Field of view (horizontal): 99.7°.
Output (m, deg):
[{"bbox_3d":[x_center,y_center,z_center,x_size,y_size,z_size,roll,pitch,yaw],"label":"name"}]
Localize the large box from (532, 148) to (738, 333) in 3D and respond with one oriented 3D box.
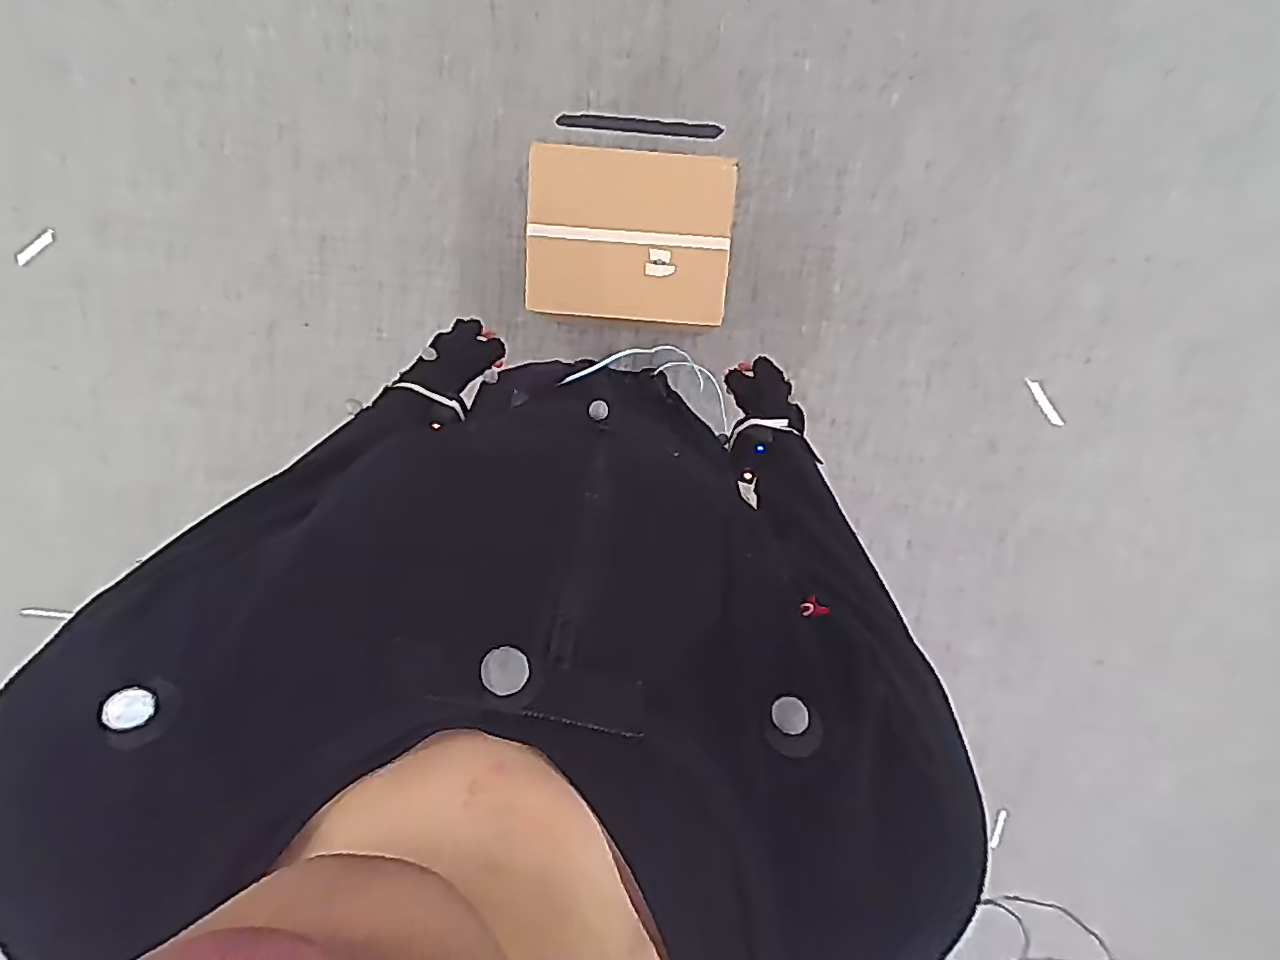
[{"bbox_3d":[-0.017,-0.514,1.227,0.408,0.320,0.320,5,103,-1],"label":"large box"}]
